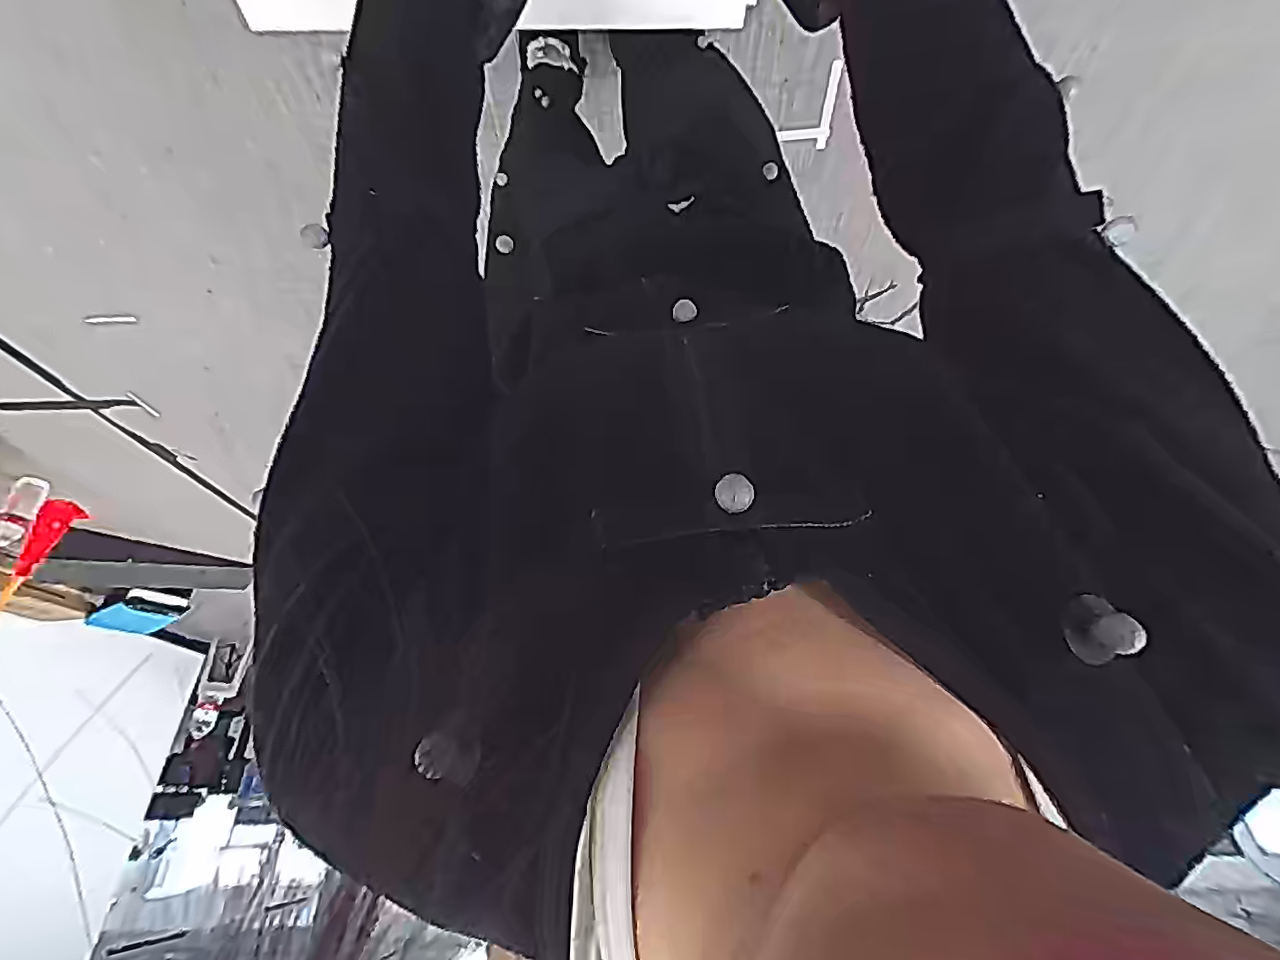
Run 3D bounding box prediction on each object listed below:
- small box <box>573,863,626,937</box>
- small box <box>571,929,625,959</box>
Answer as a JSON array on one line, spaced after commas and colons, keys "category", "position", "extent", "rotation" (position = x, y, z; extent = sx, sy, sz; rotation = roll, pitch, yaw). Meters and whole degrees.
[{"category": "small box", "position": [-0.134, 1.406, 1.817], "extent": [0.168, 0.176, 0.179], "rotation": [-2, 152, 1]}, {"category": "small box", "position": [-0.132, 1.549, 1.739], "extent": [0.168, 0.176, 0.179], "rotation": [-2, 150, -1]}]
